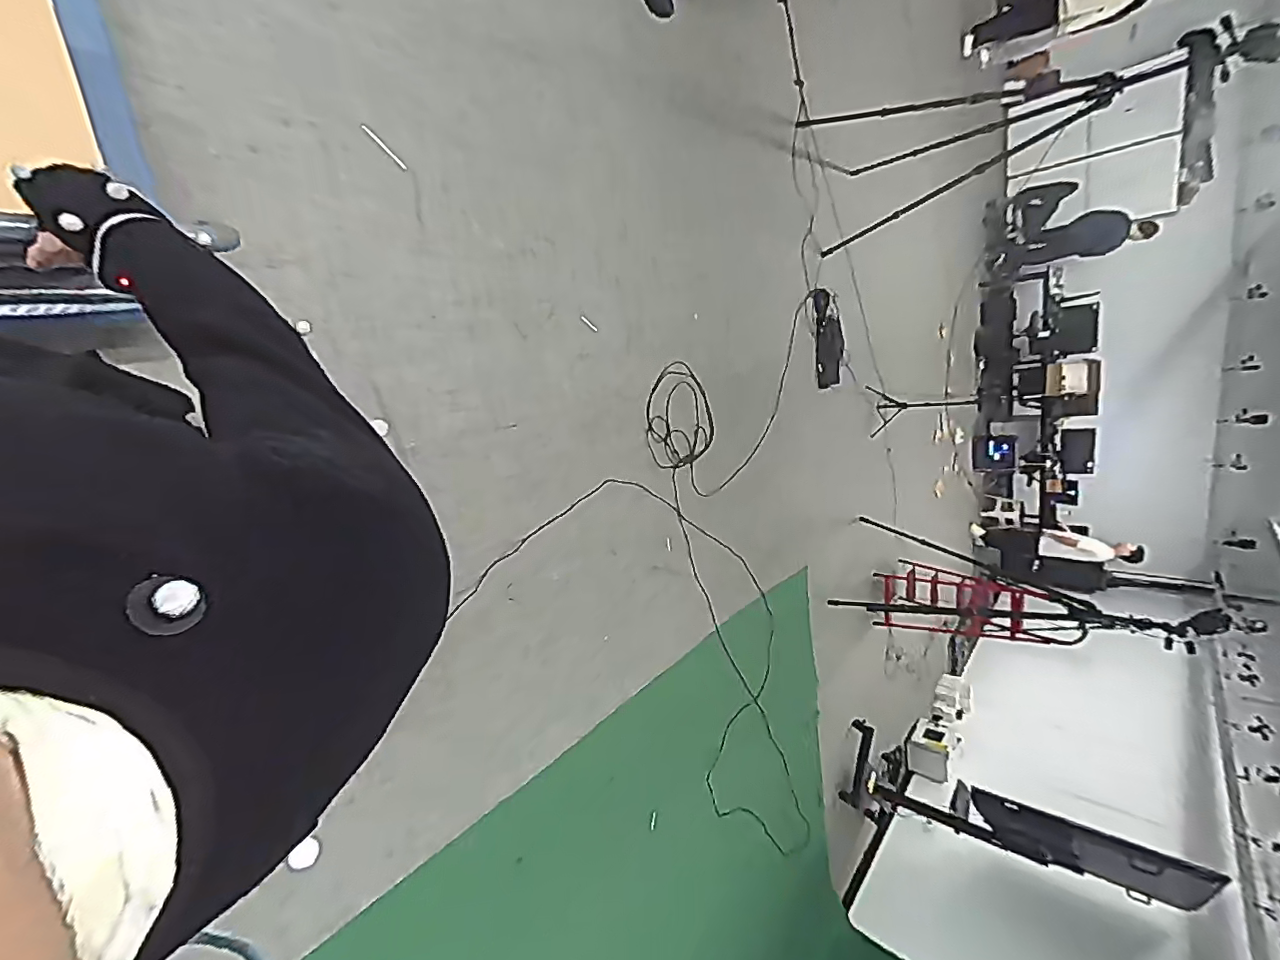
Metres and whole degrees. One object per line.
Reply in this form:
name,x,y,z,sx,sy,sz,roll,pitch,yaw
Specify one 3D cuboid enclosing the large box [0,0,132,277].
large box,-1.041,-0.542,0.809,0.320,0.320,0.408,-21,106,-45
